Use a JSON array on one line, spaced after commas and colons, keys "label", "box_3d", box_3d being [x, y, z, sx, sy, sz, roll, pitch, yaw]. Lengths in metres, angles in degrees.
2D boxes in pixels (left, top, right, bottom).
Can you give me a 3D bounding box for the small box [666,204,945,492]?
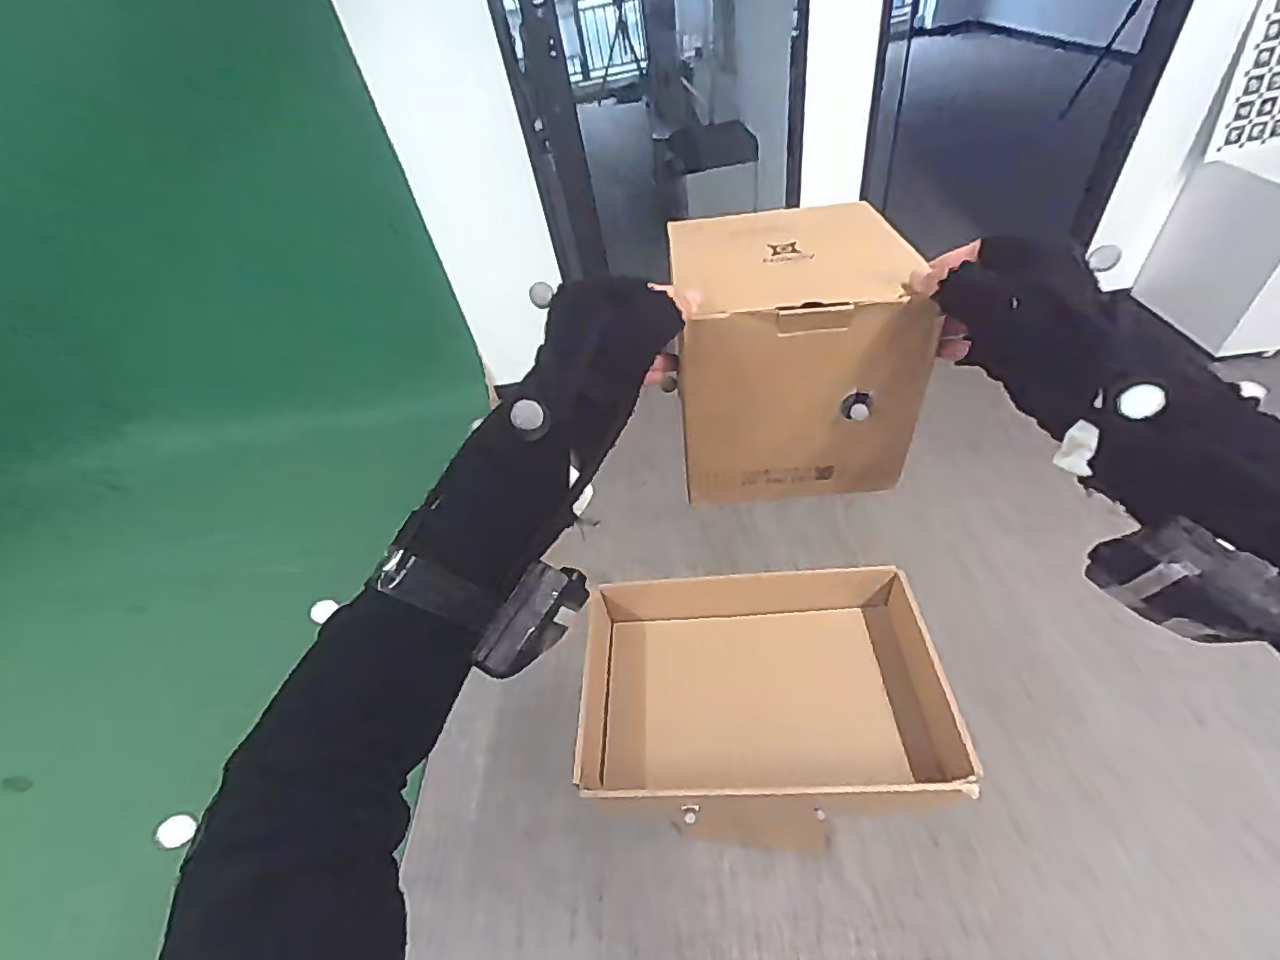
[{"label": "small box", "box_3d": [0.110, -0.102, 0.439, 0.168, 0.176, 0.179, -4, 42, 3]}]
